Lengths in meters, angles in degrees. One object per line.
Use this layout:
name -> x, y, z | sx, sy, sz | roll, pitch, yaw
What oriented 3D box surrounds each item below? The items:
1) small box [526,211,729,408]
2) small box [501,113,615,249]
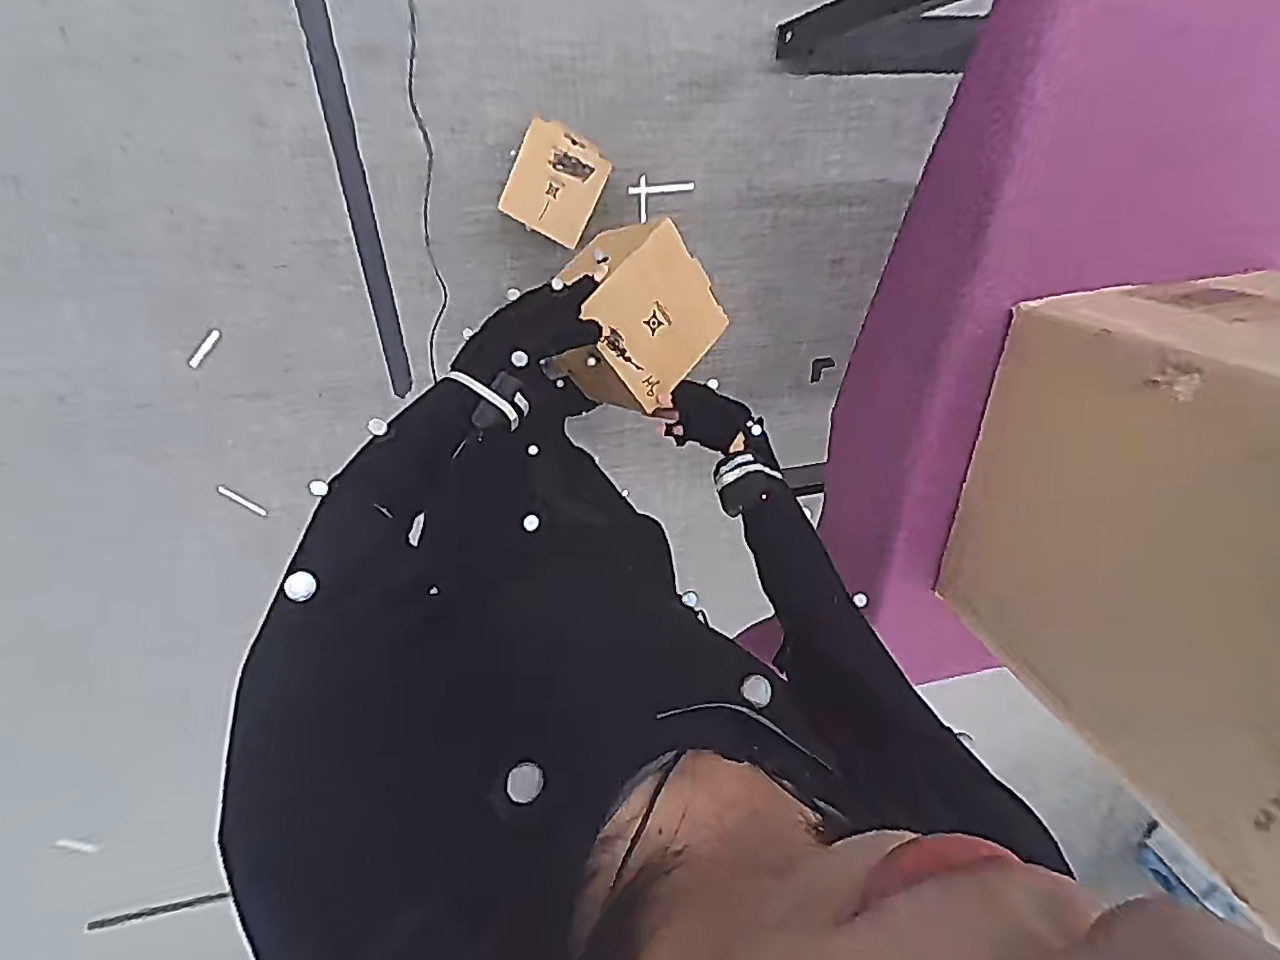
small box -> -0.021, -0.222, 0.724 | 0.179, 0.176, 0.168 | -51, 124, -12
small box -> -0.174, -0.601, 1.092 | 0.168, 0.176, 0.179 | 21, 114, -24
